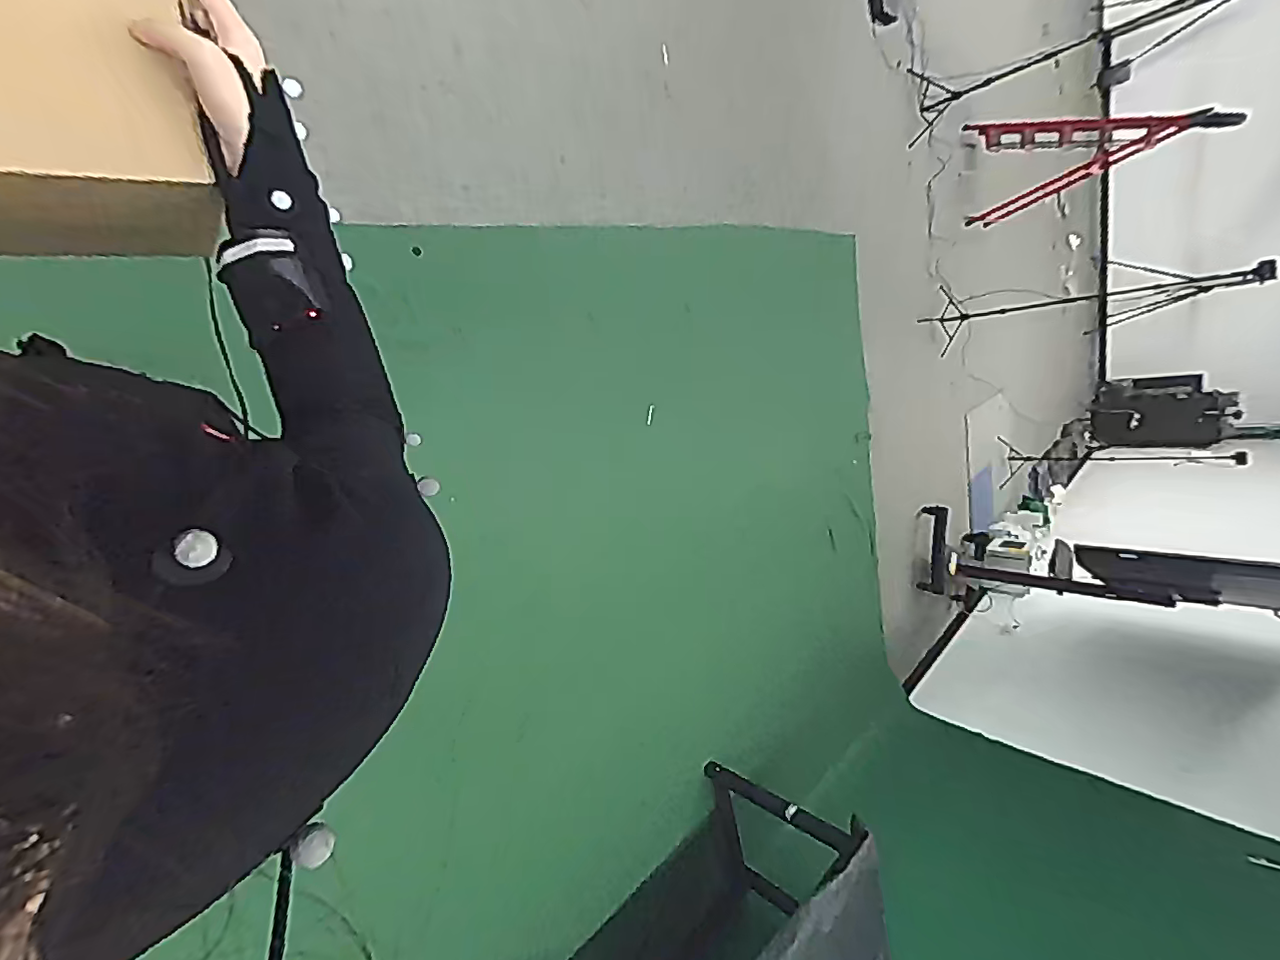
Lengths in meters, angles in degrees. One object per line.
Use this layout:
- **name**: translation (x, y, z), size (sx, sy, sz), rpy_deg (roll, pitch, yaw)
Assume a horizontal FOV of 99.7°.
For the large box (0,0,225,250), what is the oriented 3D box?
- **large box**: translation (-0.581, -0.344, 0.376), size (0.408, 0.320, 0.320), rpy_deg (-17, 109, -35)
